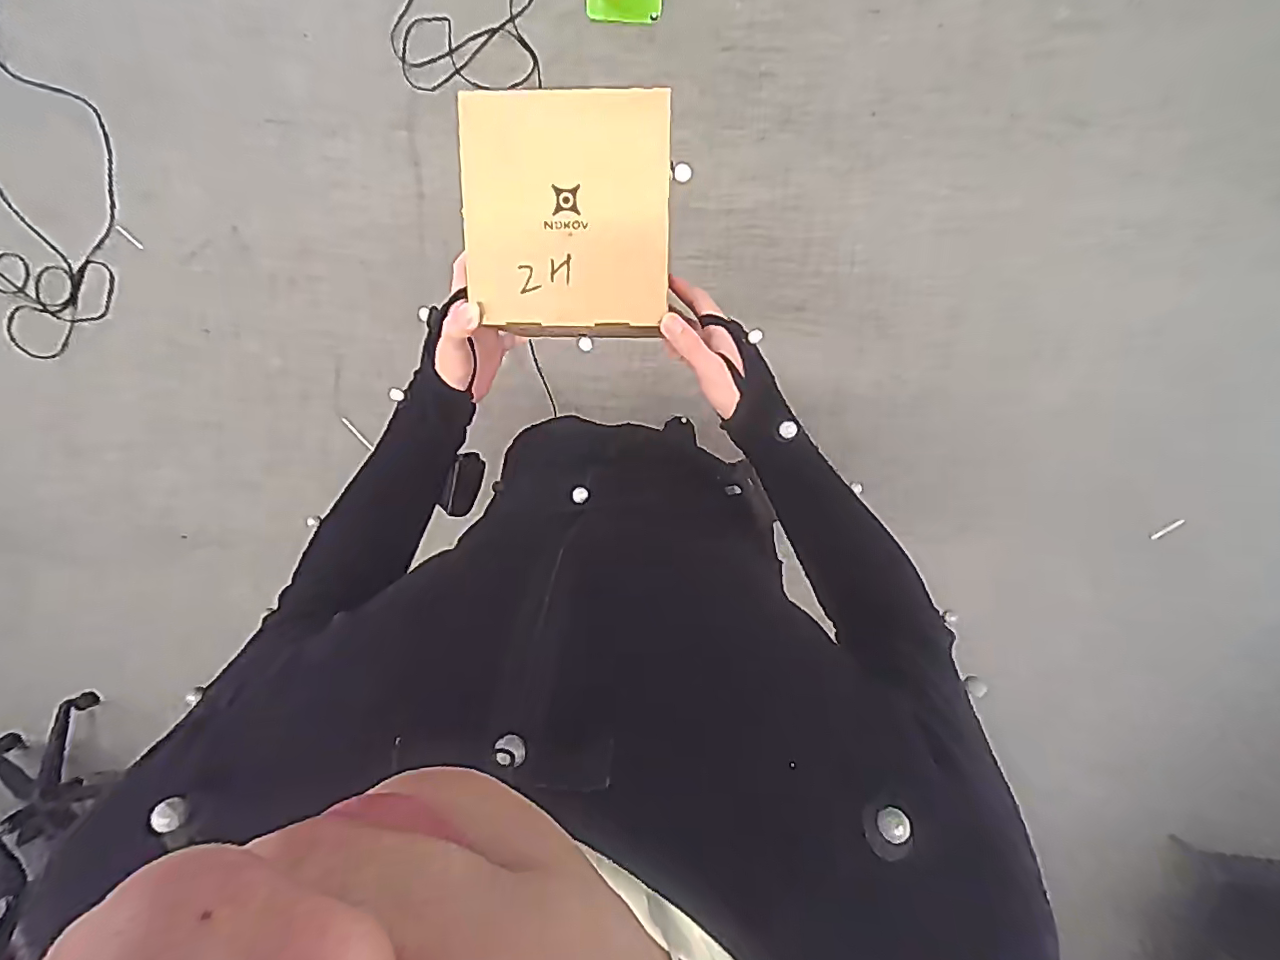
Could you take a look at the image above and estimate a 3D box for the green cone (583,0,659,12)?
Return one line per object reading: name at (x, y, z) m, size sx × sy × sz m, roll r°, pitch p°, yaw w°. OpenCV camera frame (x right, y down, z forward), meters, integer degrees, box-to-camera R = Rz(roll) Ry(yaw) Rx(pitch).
green cone at (-0.056, -1.289, 1.215) m, size 0.202 × 0.368 × 0.200 m, roll 6°, pitch 99°, yaw 4°
